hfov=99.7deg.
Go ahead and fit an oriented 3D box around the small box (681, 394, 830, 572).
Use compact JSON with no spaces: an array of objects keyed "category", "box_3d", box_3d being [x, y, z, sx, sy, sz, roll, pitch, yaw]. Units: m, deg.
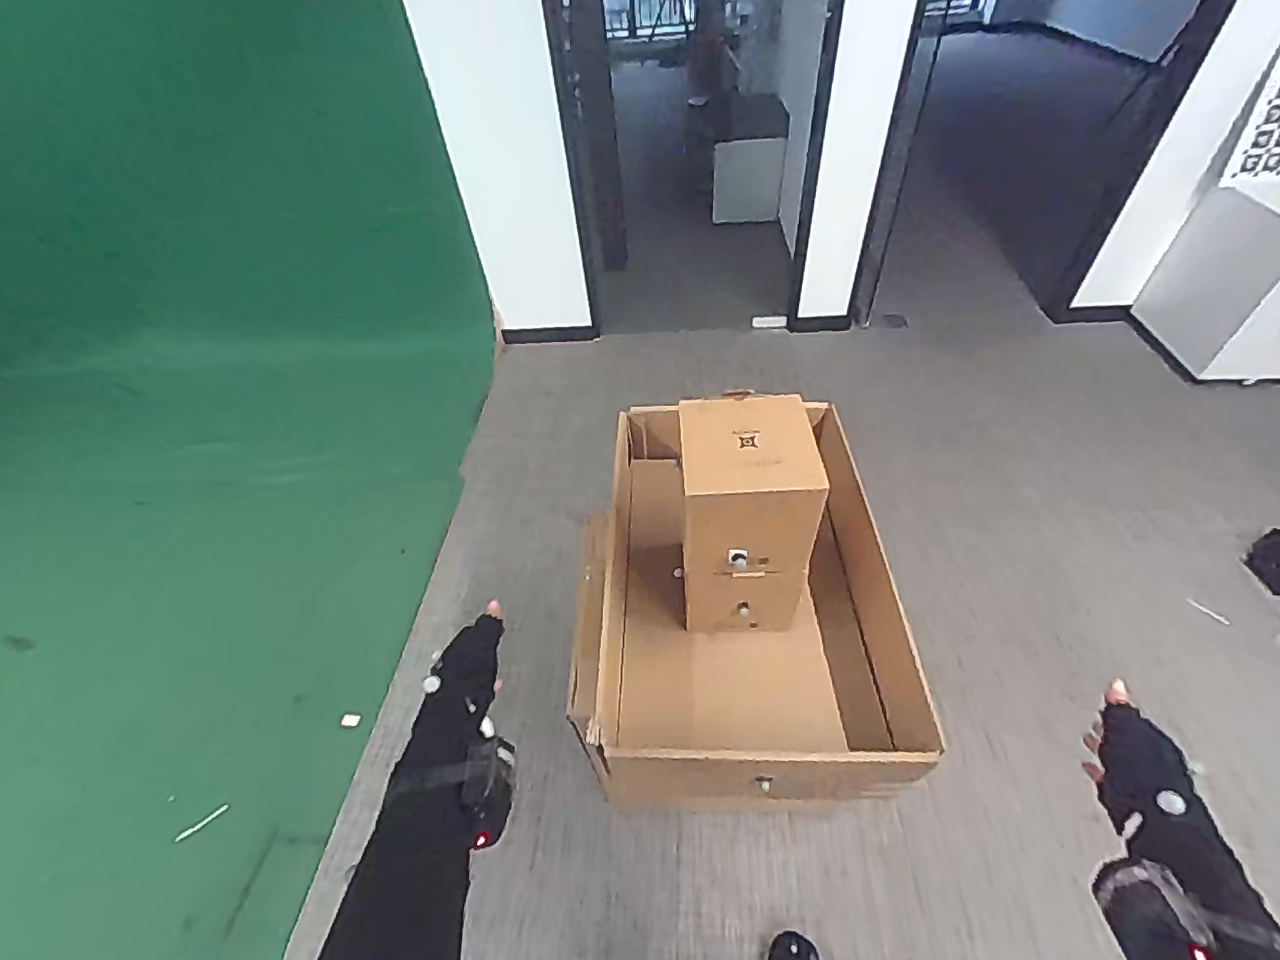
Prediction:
[{"category":"small box","box_3d":[0.141,0.005,0.734,0.168,0.176,0.179,-3,48,3]}]
